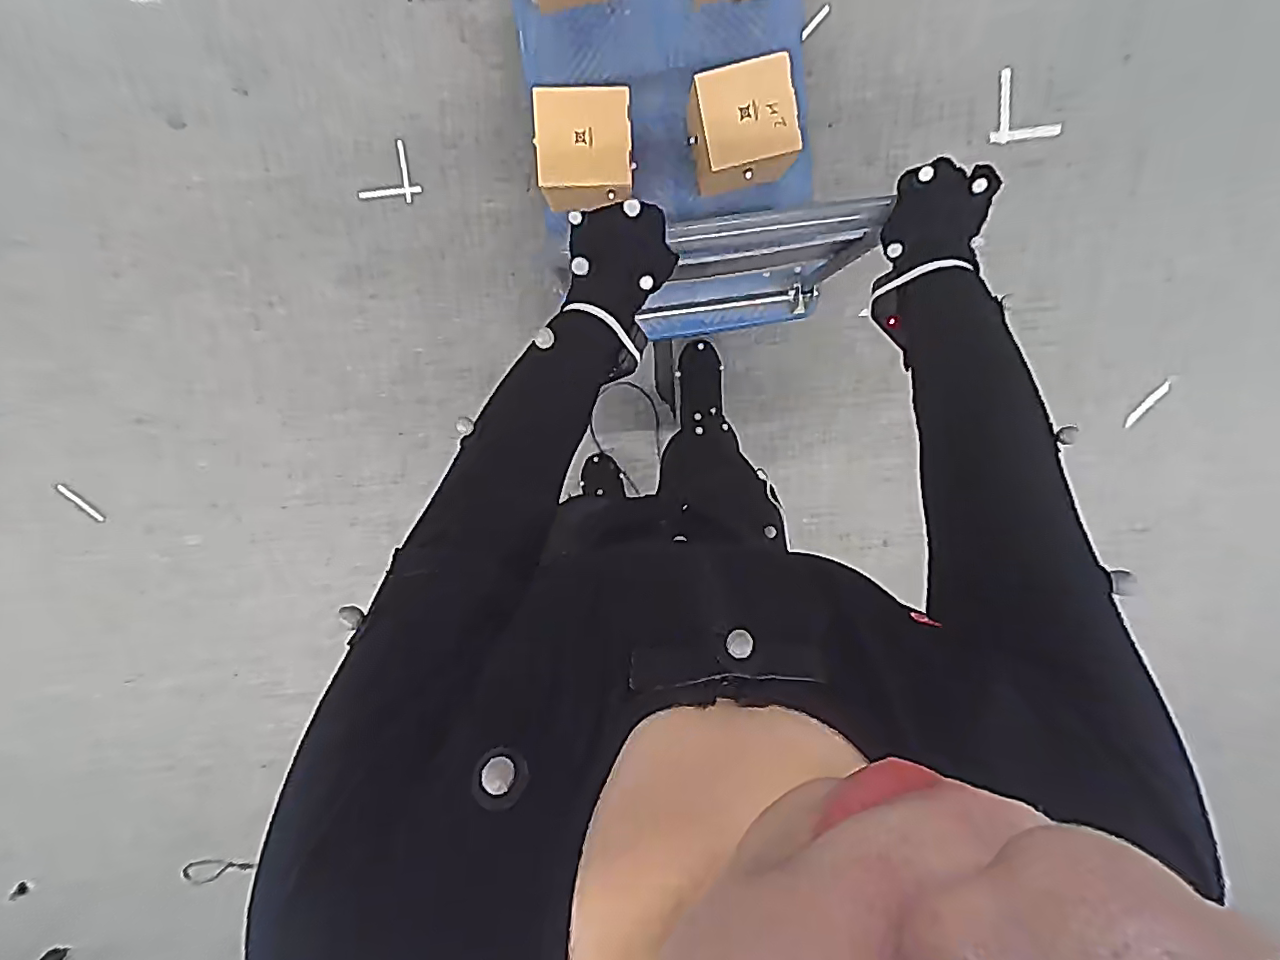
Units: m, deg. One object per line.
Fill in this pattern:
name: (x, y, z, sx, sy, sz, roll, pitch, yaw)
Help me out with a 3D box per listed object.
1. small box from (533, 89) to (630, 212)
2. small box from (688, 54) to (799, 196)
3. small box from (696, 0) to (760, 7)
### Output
small box: (-0.109, -0.645, 1.077, 0.179, 0.176, 0.168, -3, 101, -2)
small box: (0.195, -0.690, 1.073, 0.179, 0.176, 0.168, -13, 102, 2)
small box: (0.178, -1.034, 0.999, 0.168, 0.176, 0.179, -8, 103, 1)
